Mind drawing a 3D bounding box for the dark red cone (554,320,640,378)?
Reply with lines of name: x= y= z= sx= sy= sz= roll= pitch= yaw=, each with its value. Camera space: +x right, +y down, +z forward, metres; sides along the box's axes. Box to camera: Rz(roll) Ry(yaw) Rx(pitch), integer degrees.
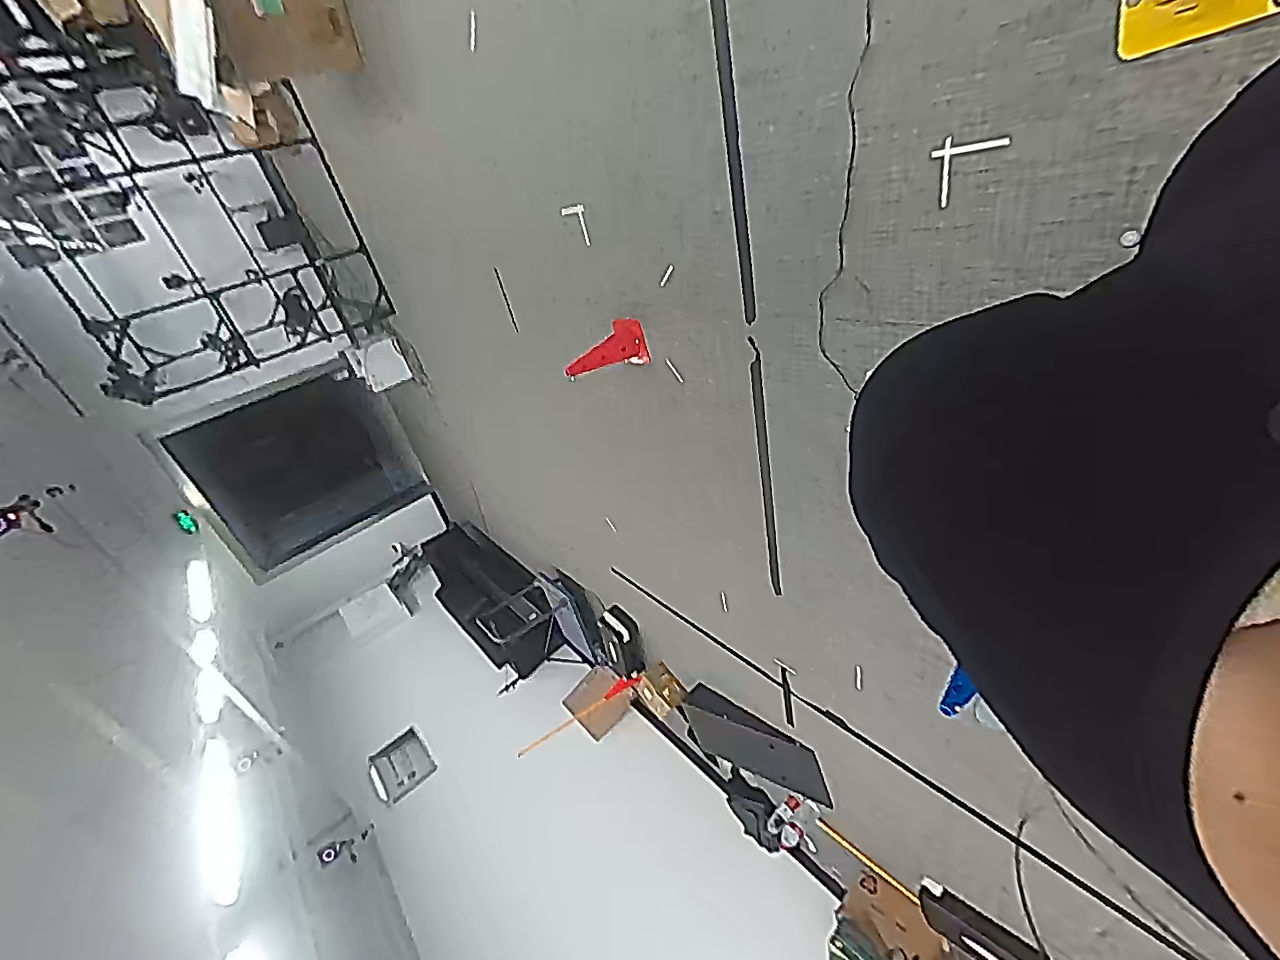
dark red cone: x=-0.197 y=-0.526 z=2.307 sx=0.201 sy=0.394 sz=0.202 roll=16 pitch=132 yaw=51
